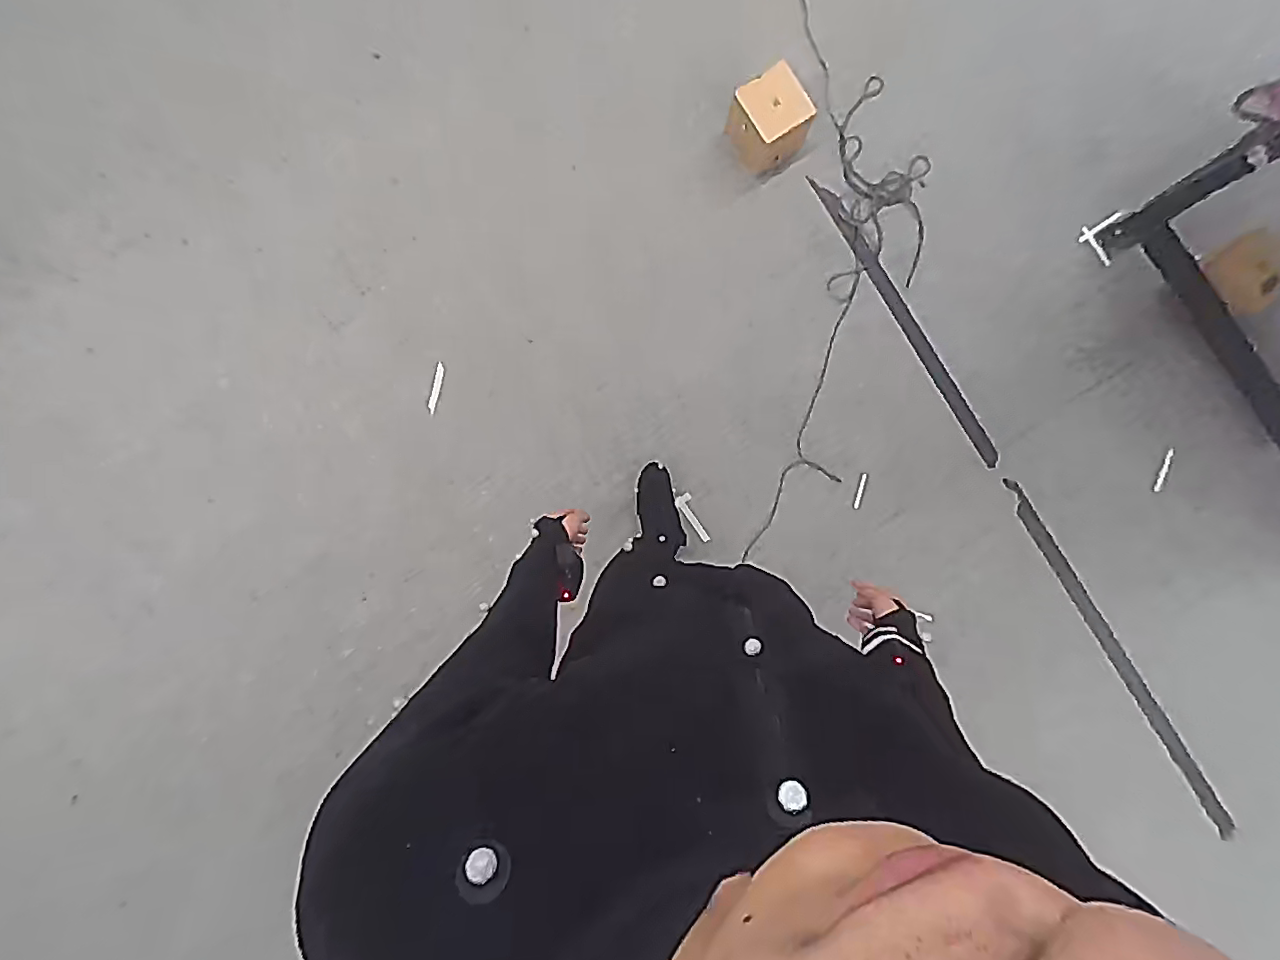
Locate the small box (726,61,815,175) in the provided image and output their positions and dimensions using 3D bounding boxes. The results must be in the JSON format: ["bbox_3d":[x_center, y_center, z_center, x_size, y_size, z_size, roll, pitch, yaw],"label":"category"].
[{"bbox_3d":[0.366,-1.030,1.554,0.168,0.176,0.179,-32,90,1],"label":"small box"}]
